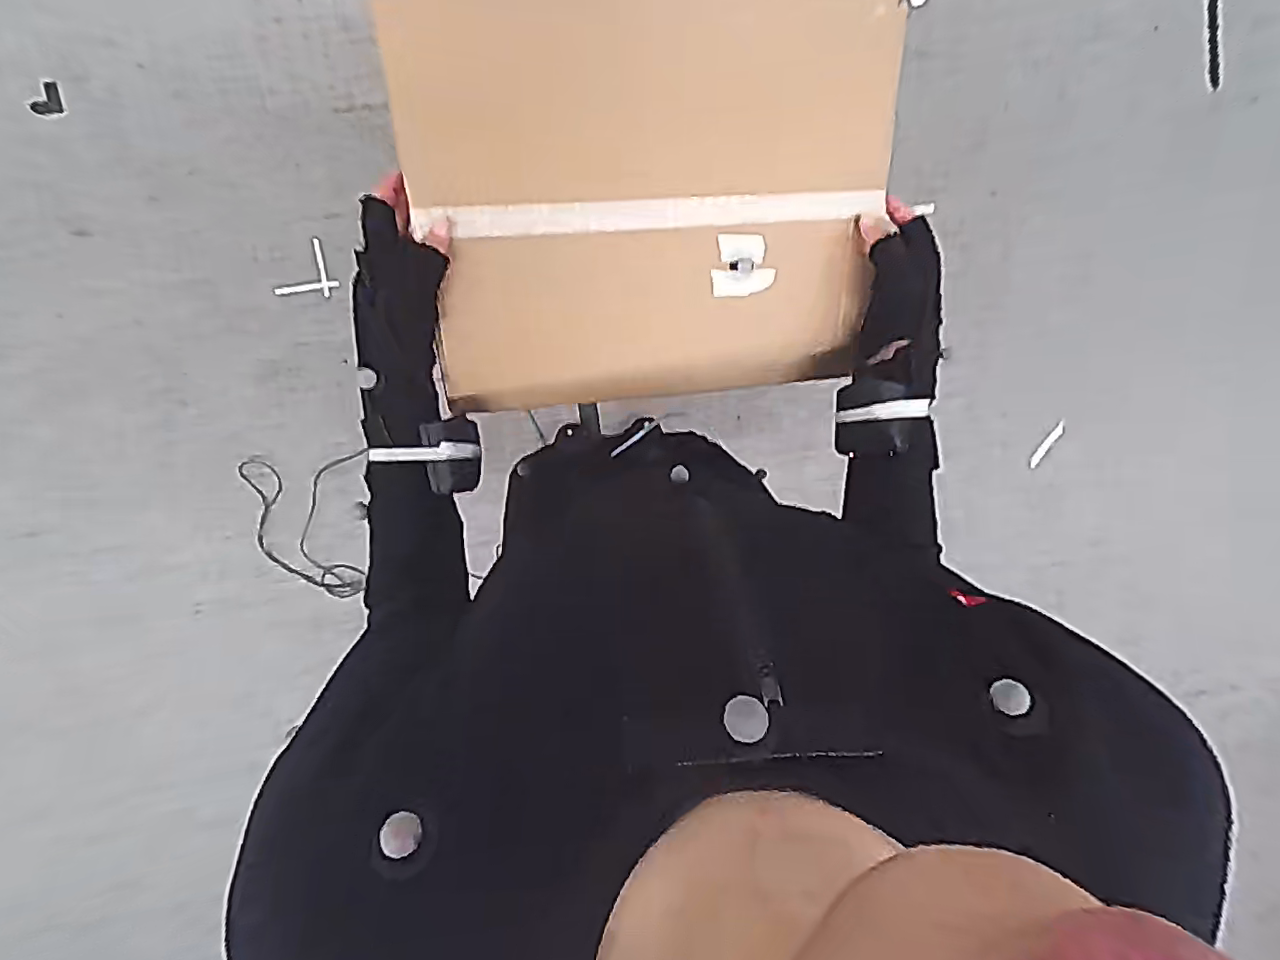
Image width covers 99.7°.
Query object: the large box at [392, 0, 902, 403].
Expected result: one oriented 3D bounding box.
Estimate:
[{"bbox_3d":[-0.006,-0.290,0.598,0.408,0.320,0.320,-6,115,-11],"label":"large box"}]
